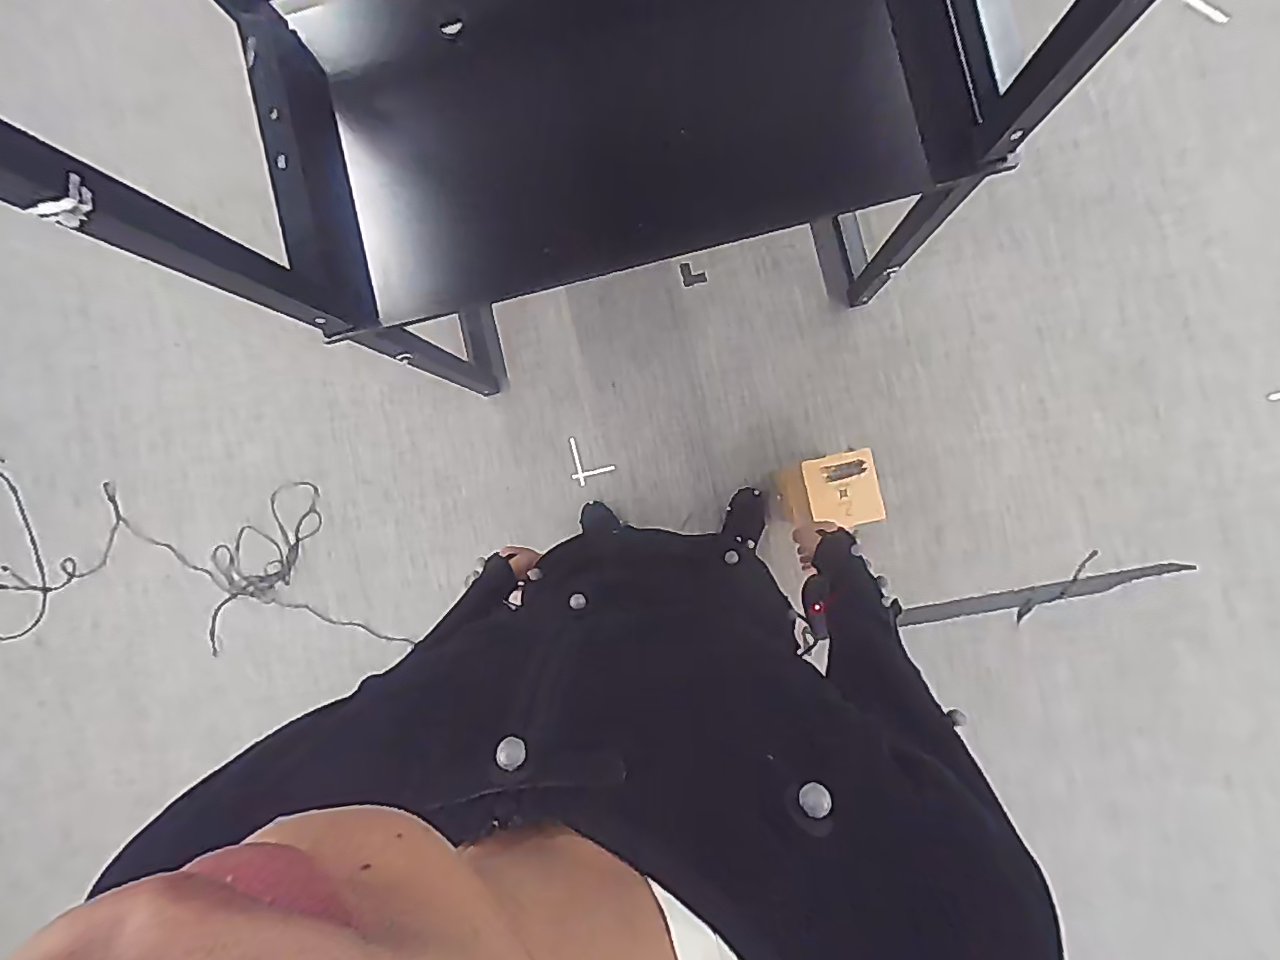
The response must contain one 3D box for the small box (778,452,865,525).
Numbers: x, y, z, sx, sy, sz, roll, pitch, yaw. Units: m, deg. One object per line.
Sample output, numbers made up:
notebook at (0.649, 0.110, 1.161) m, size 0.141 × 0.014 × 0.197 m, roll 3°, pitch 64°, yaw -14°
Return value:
small box at (0.499, 0.021, 1.508) m, size 0.179 × 0.176 × 0.168 m, roll -15°, pitch 88°, yaw 6°
